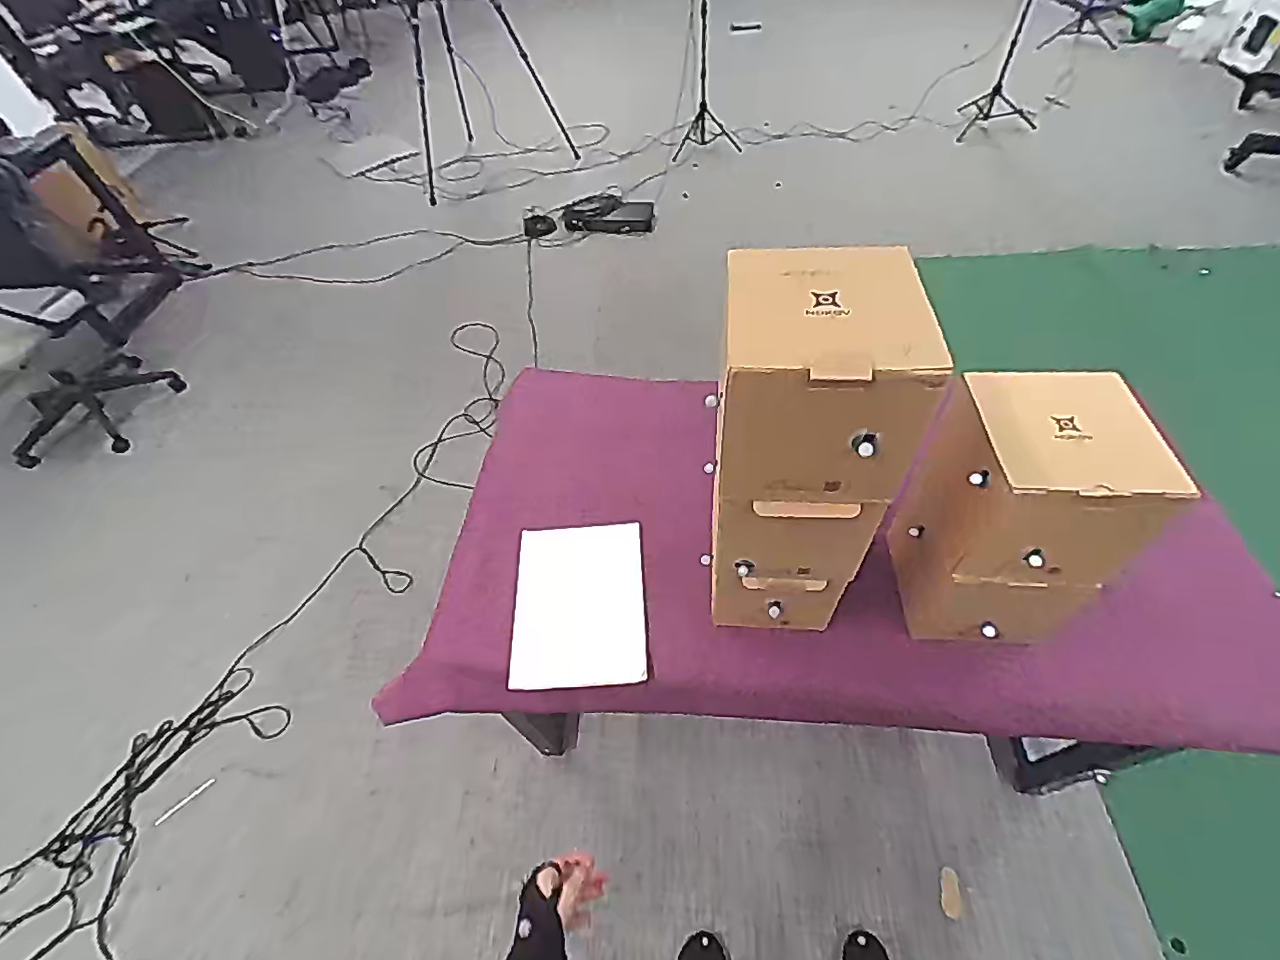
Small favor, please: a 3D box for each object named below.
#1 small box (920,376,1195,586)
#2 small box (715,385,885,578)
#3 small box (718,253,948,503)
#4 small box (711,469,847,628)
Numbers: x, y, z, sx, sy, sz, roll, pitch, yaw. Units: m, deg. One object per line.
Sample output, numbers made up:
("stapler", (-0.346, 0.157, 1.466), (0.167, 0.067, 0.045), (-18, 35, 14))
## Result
("small box", (0.448, 0.001, 0.624), (0.168, 0.176, 0.179), (2, 51, 7))
("small box", (0.176, 0.003, 0.650), (0.168, 0.176, 0.179), (1, 51, 7))
("small box", (0.163, -0.094, 0.519), (0.168, 0.176, 0.179), (2, 51, 7))
("small box", (0.190, 0.101, 0.782), (0.168, 0.176, 0.179), (1, 53, 7))
